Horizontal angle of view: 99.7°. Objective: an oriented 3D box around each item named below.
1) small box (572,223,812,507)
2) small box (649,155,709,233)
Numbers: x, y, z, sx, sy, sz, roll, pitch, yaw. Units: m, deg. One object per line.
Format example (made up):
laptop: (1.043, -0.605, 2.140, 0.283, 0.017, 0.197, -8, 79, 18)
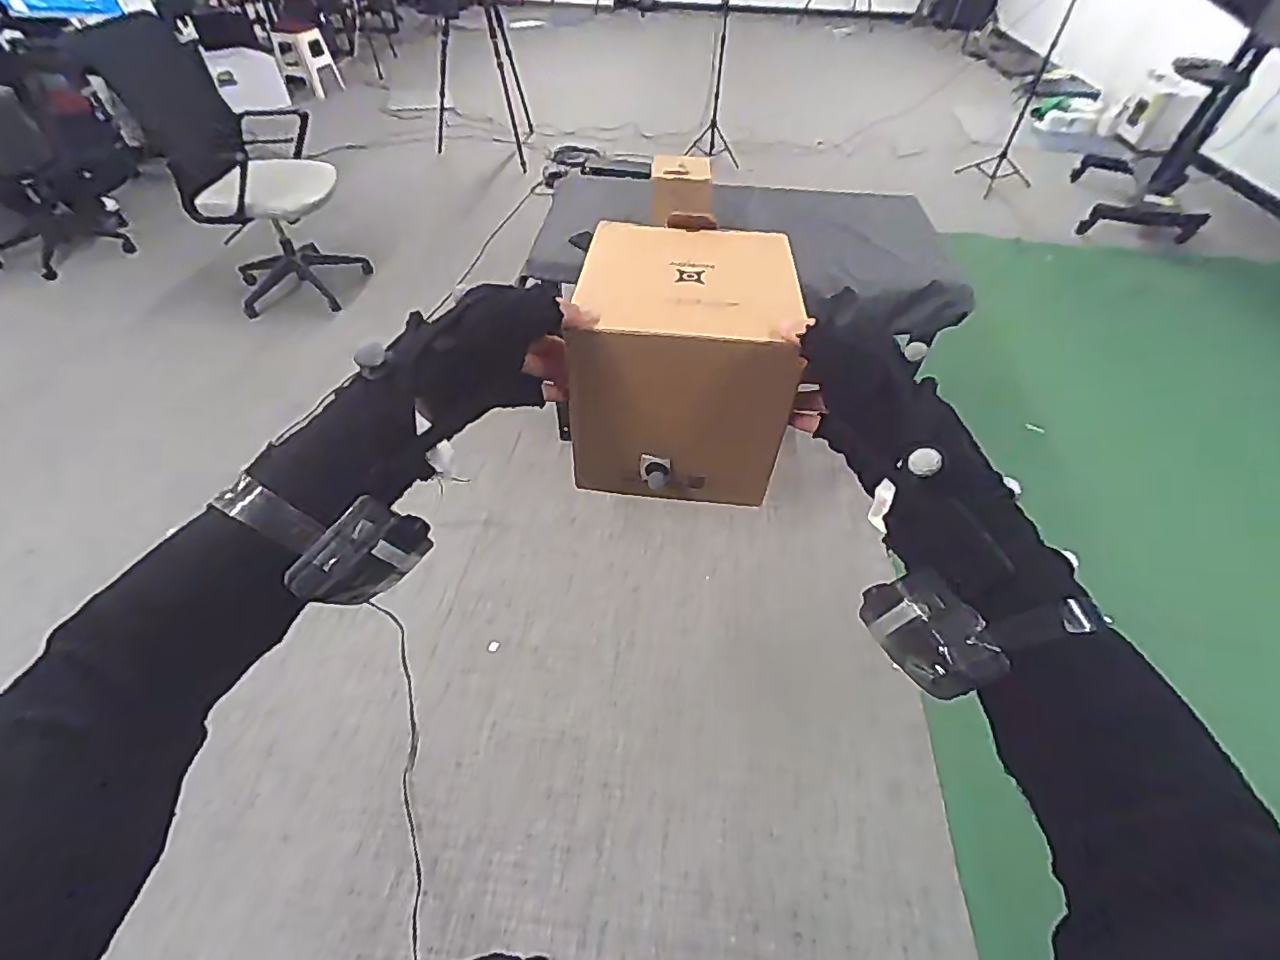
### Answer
small box: (0.038, -0.100, 0.475, 0.168, 0.176, 0.179, 4, 49, 2)
small box: (0.115, -0.842, 1.606, 0.168, 0.176, 0.179, 4, 48, 1)
